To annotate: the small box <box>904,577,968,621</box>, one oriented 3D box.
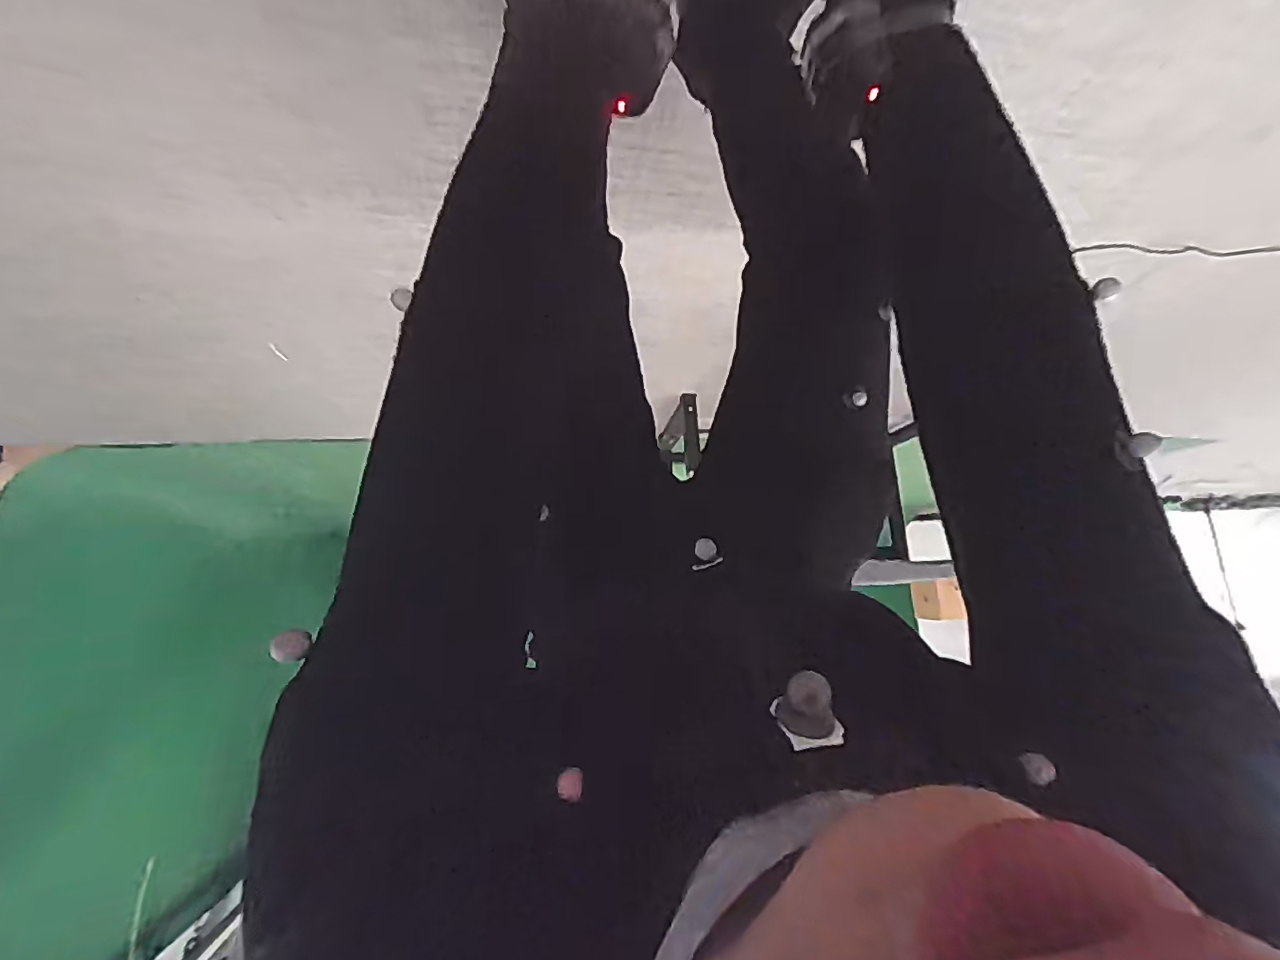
[{"bbox_3d":[1.235,0.497,2.266,0.168,0.176,0.179,-1,168,-9],"label":"small box"}]
